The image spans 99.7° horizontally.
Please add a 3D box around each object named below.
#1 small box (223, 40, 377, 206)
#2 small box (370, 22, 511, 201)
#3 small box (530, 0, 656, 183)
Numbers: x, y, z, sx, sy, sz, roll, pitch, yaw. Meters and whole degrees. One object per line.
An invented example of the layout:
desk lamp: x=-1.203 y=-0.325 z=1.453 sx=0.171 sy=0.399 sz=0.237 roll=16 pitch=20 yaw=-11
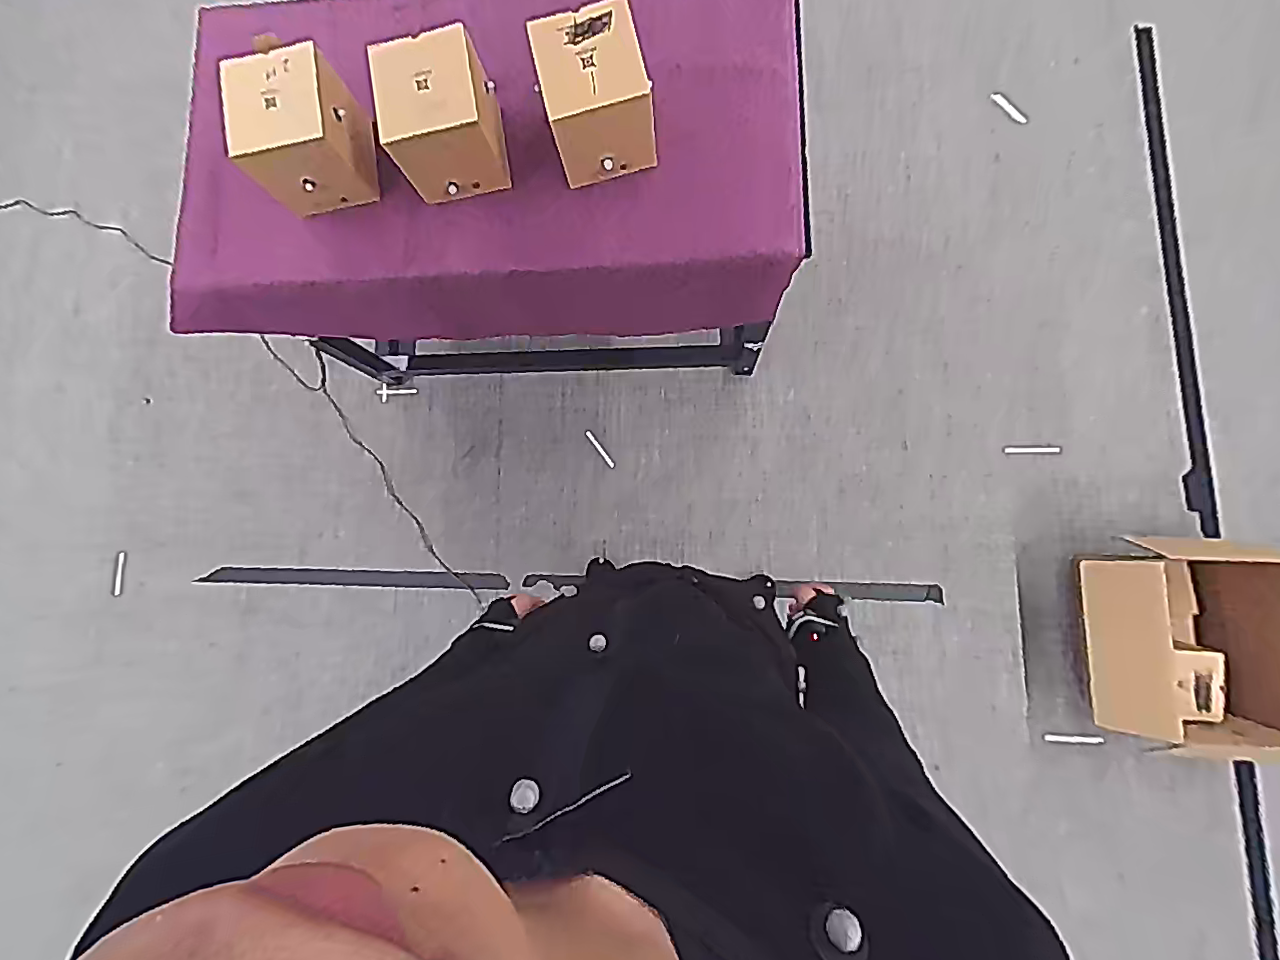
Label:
small box: x=-0.589 y=-0.614 z=0.956 sx=0.168 sy=0.176 sz=0.179 roll=-9 pitch=83 yaw=3
small box: x=-0.337 y=-0.626 z=0.938 sx=0.168 sy=0.176 sz=0.179 roll=-10 pitch=83 yaw=4
small box: x=-0.072 y=-0.650 z=0.916 sx=0.168 sy=0.176 sz=0.179 roll=-14 pitch=84 yaw=4
